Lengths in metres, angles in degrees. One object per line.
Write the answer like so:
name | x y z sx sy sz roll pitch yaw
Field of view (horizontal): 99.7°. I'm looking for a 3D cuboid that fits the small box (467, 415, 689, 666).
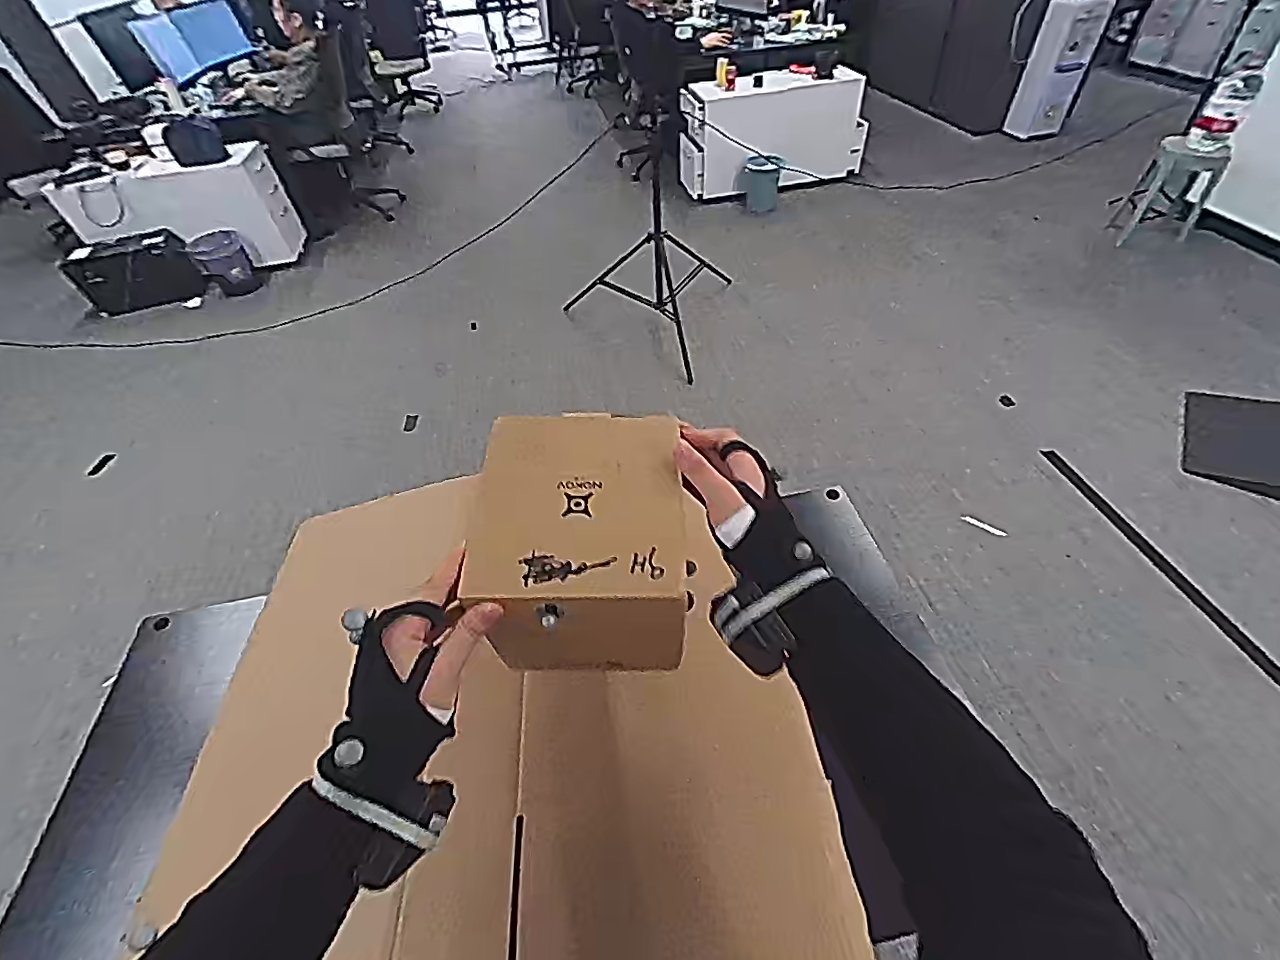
small box | -0.043 0.059 0.506 0.168 0.176 0.179 -1 53 2
